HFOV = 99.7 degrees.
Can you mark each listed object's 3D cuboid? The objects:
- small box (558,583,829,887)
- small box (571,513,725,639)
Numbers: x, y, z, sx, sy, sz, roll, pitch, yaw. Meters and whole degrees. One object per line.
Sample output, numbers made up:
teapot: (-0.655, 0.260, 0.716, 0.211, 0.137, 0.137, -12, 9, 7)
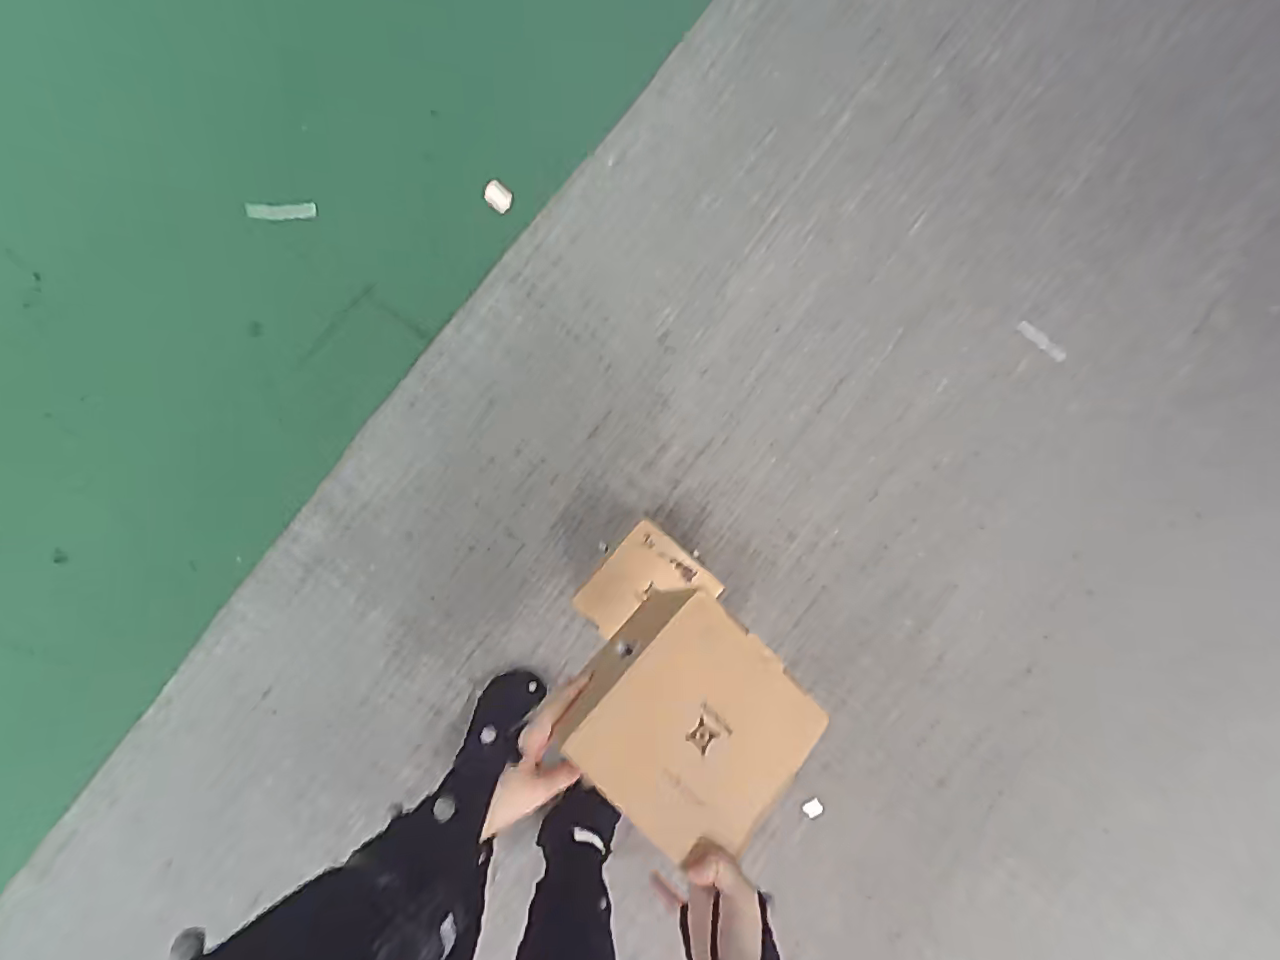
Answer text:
small box: (0.035, 0.220, 0.522, 0.168, 0.176, 0.179, 45, 72, 1)
small box: (0.012, 0.172, 0.886, 0.168, 0.176, 0.179, 42, 89, -2)
